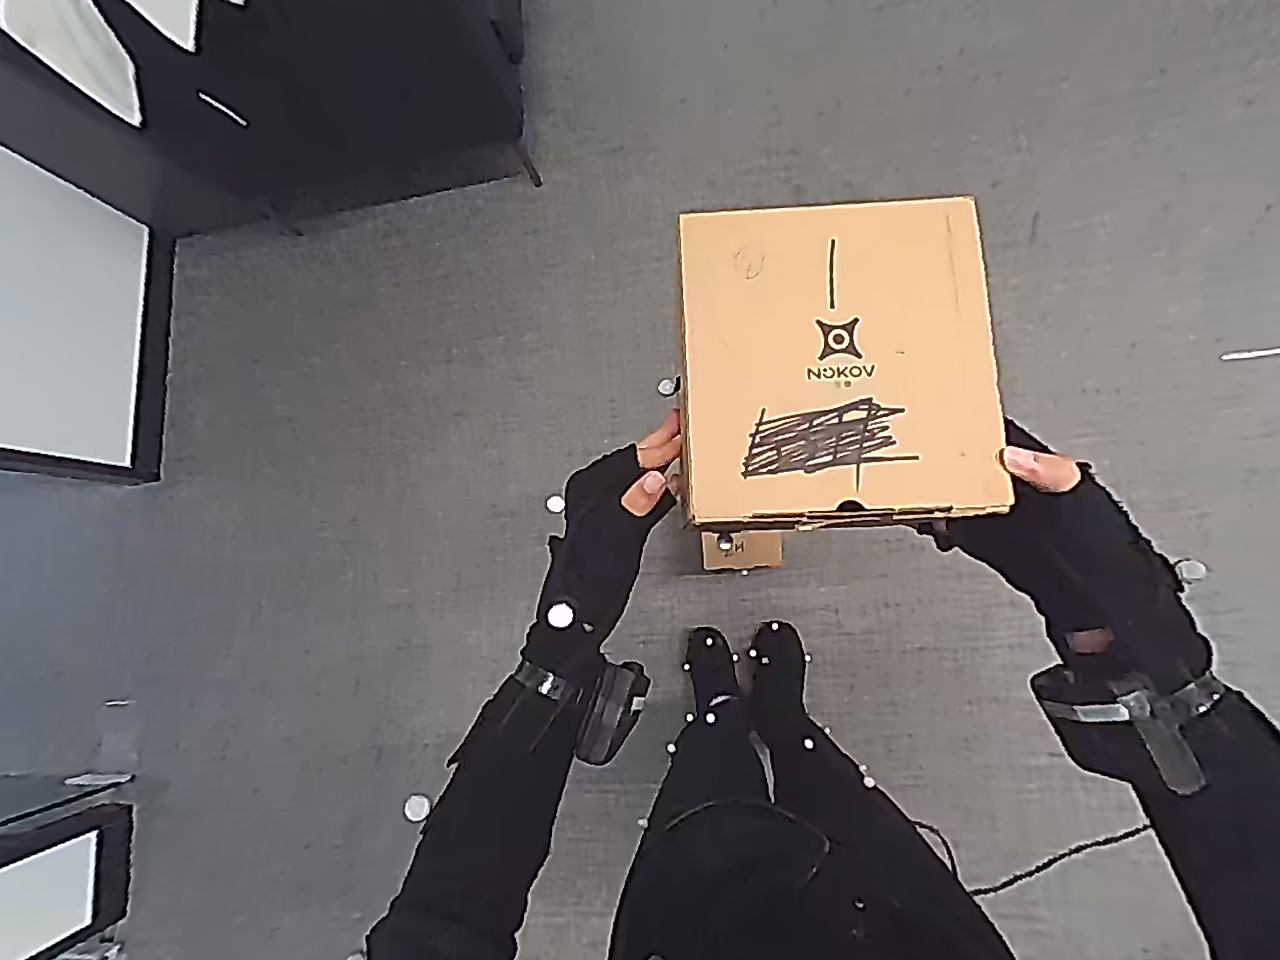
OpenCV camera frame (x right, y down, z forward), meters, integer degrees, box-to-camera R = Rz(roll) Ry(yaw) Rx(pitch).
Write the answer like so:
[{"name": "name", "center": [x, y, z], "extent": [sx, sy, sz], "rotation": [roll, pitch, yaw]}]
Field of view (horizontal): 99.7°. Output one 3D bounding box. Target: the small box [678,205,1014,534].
[{"name": "small box", "center": [0.112, -0.052, 0.370], "extent": [0.168, 0.176, 0.179], "rotation": [-3, 82, 2]}]

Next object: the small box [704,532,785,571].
[{"name": "small box", "center": [0.231, 0.113, 1.218], "extent": [0.168, 0.176, 0.179], "rotation": [-5, 80, 11]}]
